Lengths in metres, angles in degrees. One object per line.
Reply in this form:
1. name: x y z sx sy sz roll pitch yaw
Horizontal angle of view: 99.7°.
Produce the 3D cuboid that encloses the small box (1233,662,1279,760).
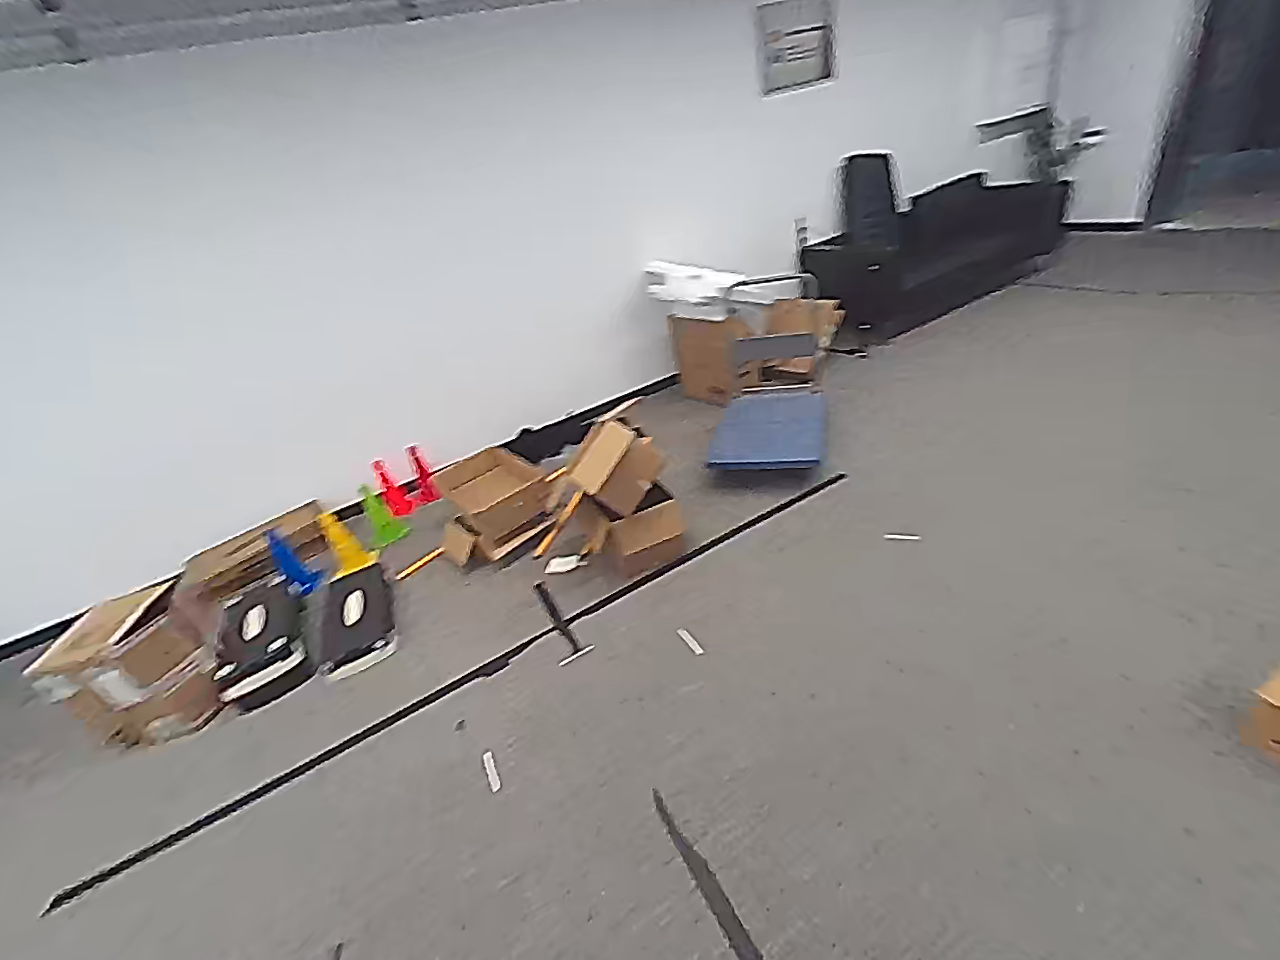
1. small box: 1.608 0.576 1.312 0.179 0.176 0.168 -25 31 -18
